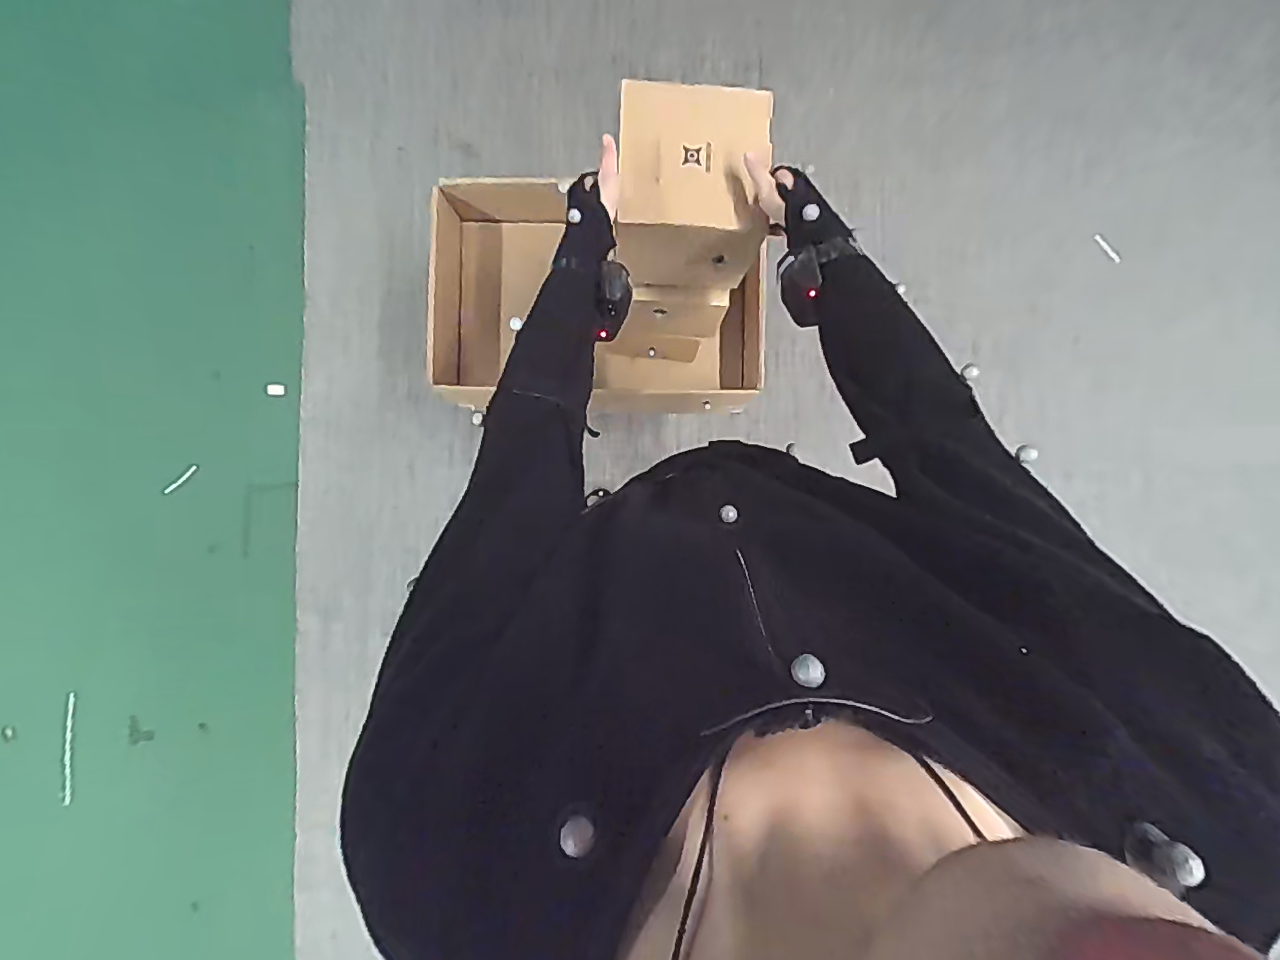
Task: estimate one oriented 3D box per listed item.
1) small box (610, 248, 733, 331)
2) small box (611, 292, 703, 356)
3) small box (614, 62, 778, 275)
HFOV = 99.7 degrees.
[{"bbox_3d":[0.052,-0.344,0.855,0.179,0.176,0.168,5,89,1],"label":"small box"},{"bbox_3d":[0.042,-0.342,1.019,0.168,0.176,0.179,6,89,1],"label":"small box"},{"bbox_3d":[0.059,-0.368,0.671,0.179,0.176,0.168,3,88,-2],"label":"small box"}]
